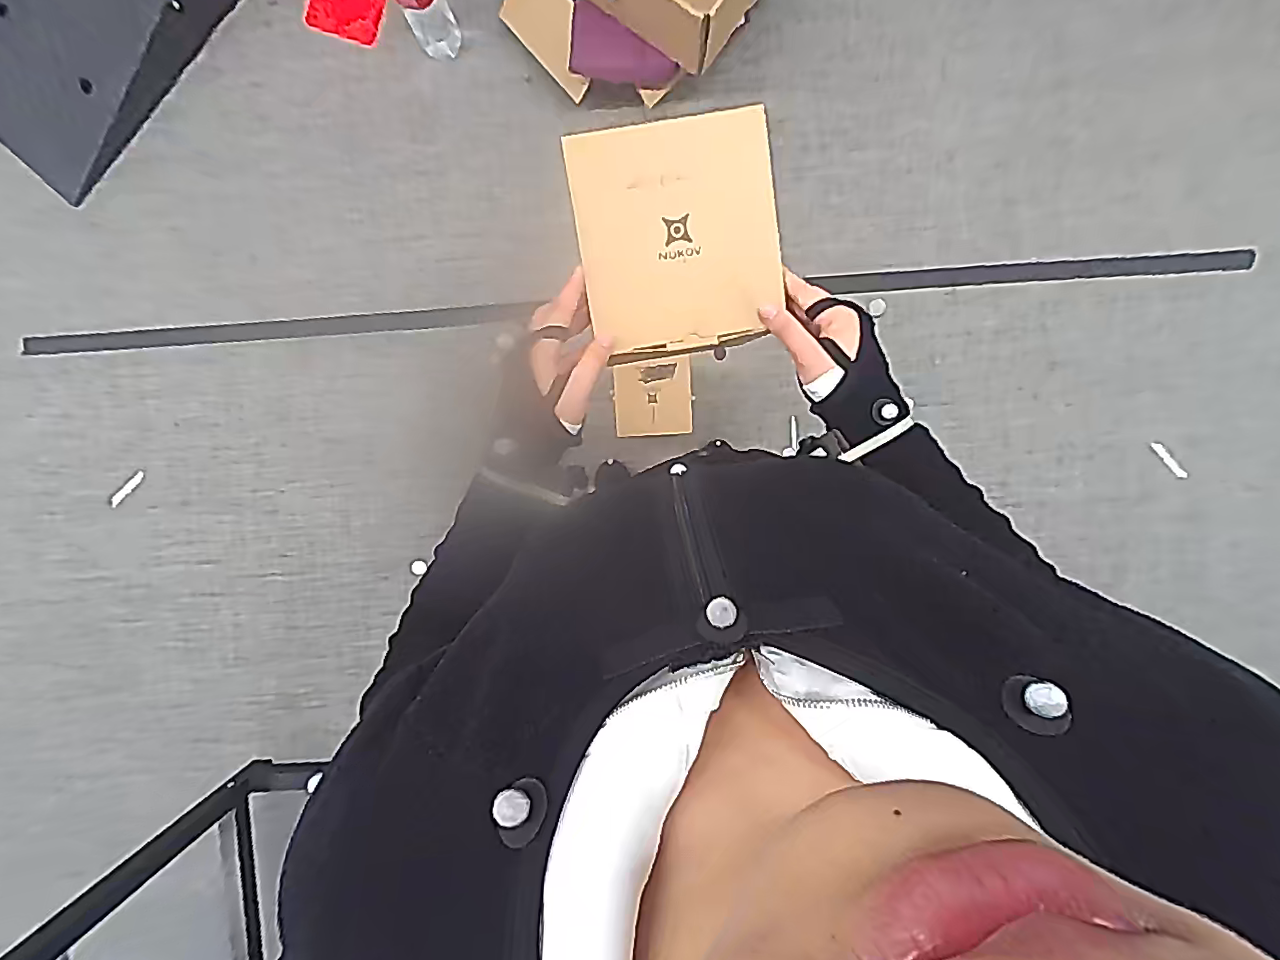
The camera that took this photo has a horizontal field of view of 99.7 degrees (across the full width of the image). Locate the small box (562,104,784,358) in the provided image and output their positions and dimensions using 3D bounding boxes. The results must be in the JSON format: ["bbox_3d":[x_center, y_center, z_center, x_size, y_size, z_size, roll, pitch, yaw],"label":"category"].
[{"bbox_3d":[0.028,-0.216,0.522,0.168,0.176,0.179,-10,99,-1],"label":"small box"}]

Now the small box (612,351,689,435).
[{"bbox_3d":[0.023,-0.193,1.240,0.168,0.176,0.179,-2,95,1],"label":"small box"}]
